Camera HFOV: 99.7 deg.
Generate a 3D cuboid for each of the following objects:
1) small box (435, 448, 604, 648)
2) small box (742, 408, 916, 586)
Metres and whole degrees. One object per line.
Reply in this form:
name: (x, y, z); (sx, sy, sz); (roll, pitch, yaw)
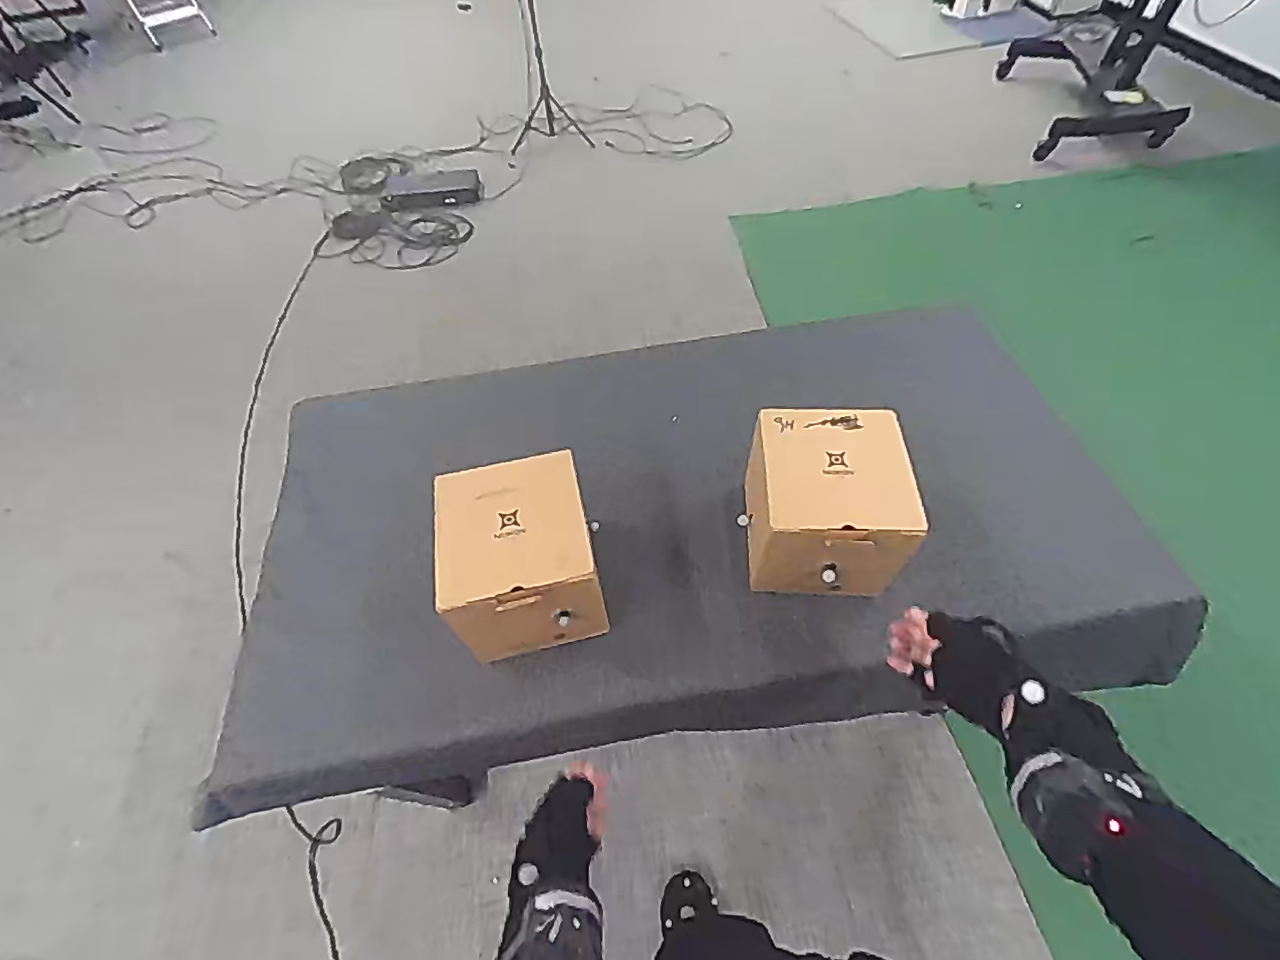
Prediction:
small box: (-0.143, 0.092, 0.671); (0.168, 0.176, 0.179); (-12, 53, -7)
small box: (0.225, 0.027, 0.697); (0.168, 0.176, 0.179); (1, 56, 3)
